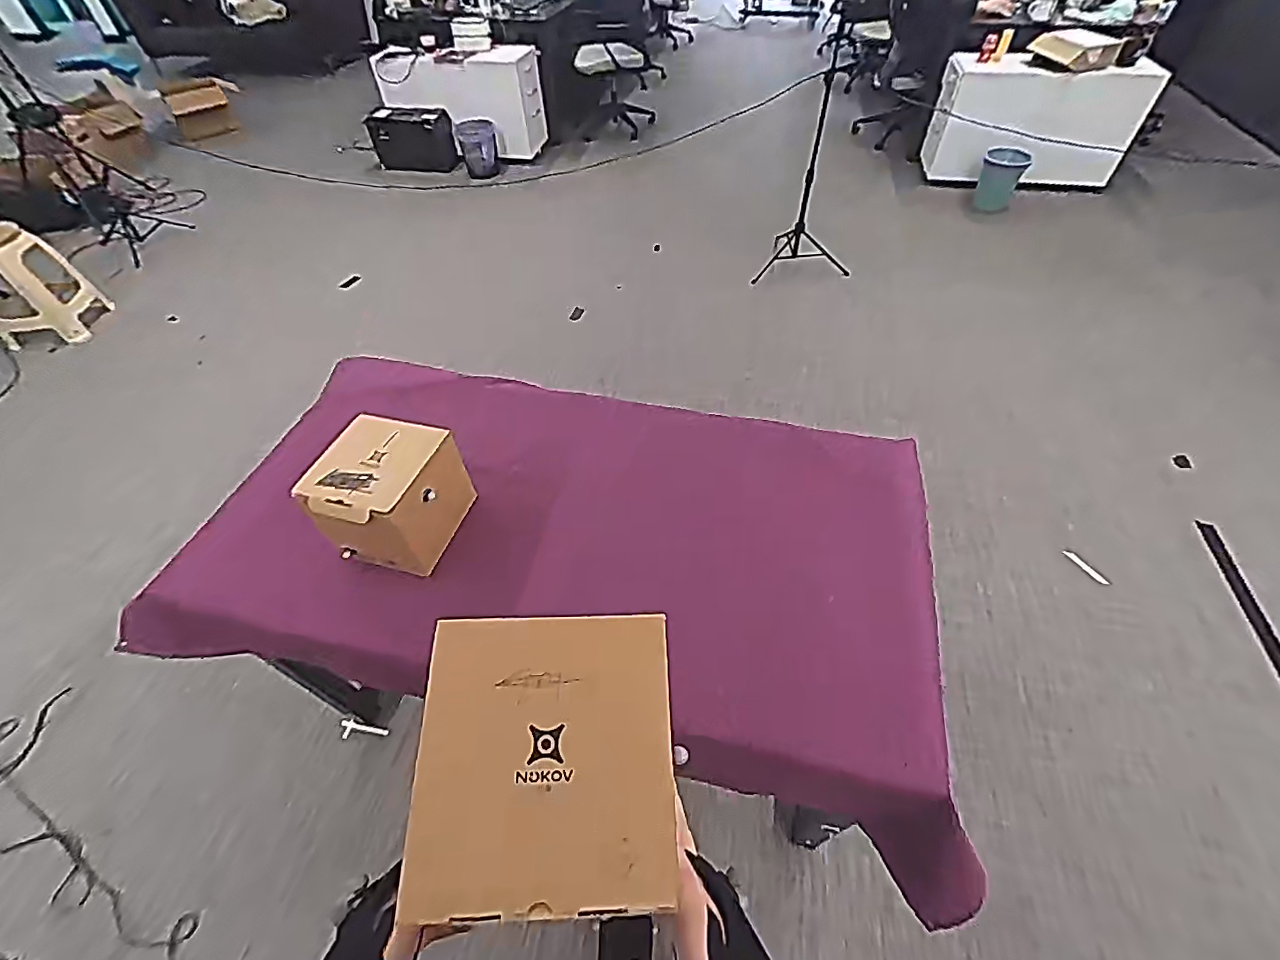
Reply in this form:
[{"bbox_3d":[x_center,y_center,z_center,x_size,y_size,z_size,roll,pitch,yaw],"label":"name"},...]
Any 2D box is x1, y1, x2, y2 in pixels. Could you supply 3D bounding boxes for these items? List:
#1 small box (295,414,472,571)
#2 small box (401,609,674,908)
[{"bbox_3d":[-0.395,0.023,0.873,0.168,0.176,0.179,12,50,11],"label":"small box"},{"bbox_3d":[-0.062,0.208,0.425,0.168,0.176,0.179,0,61,-2],"label":"small box"}]
